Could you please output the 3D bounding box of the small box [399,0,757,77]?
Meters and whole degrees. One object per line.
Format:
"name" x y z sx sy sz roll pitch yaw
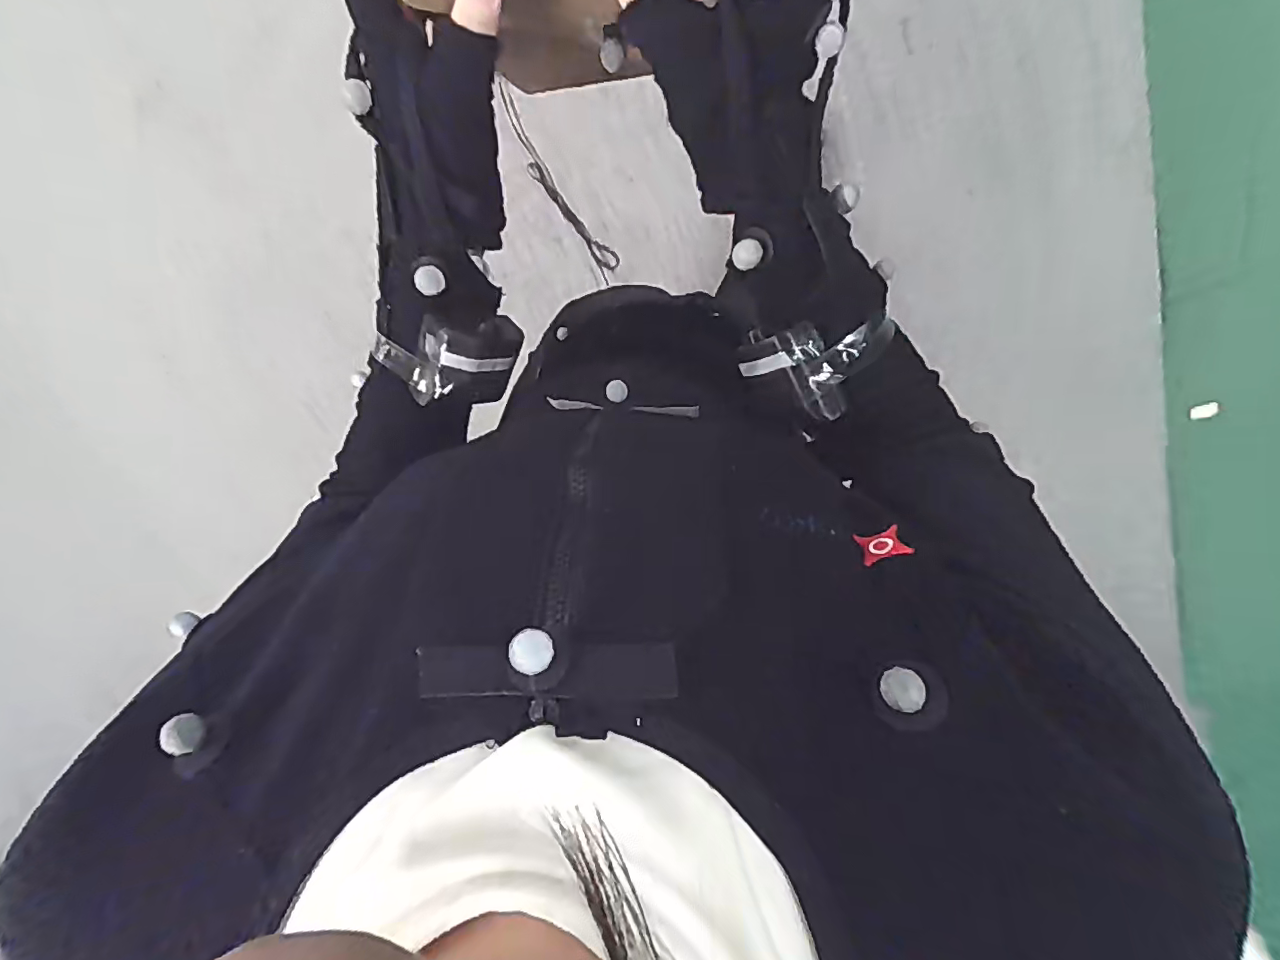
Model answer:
"small box" -0.026 -0.327 0.265 0.168 0.176 0.179 -2 112 11
